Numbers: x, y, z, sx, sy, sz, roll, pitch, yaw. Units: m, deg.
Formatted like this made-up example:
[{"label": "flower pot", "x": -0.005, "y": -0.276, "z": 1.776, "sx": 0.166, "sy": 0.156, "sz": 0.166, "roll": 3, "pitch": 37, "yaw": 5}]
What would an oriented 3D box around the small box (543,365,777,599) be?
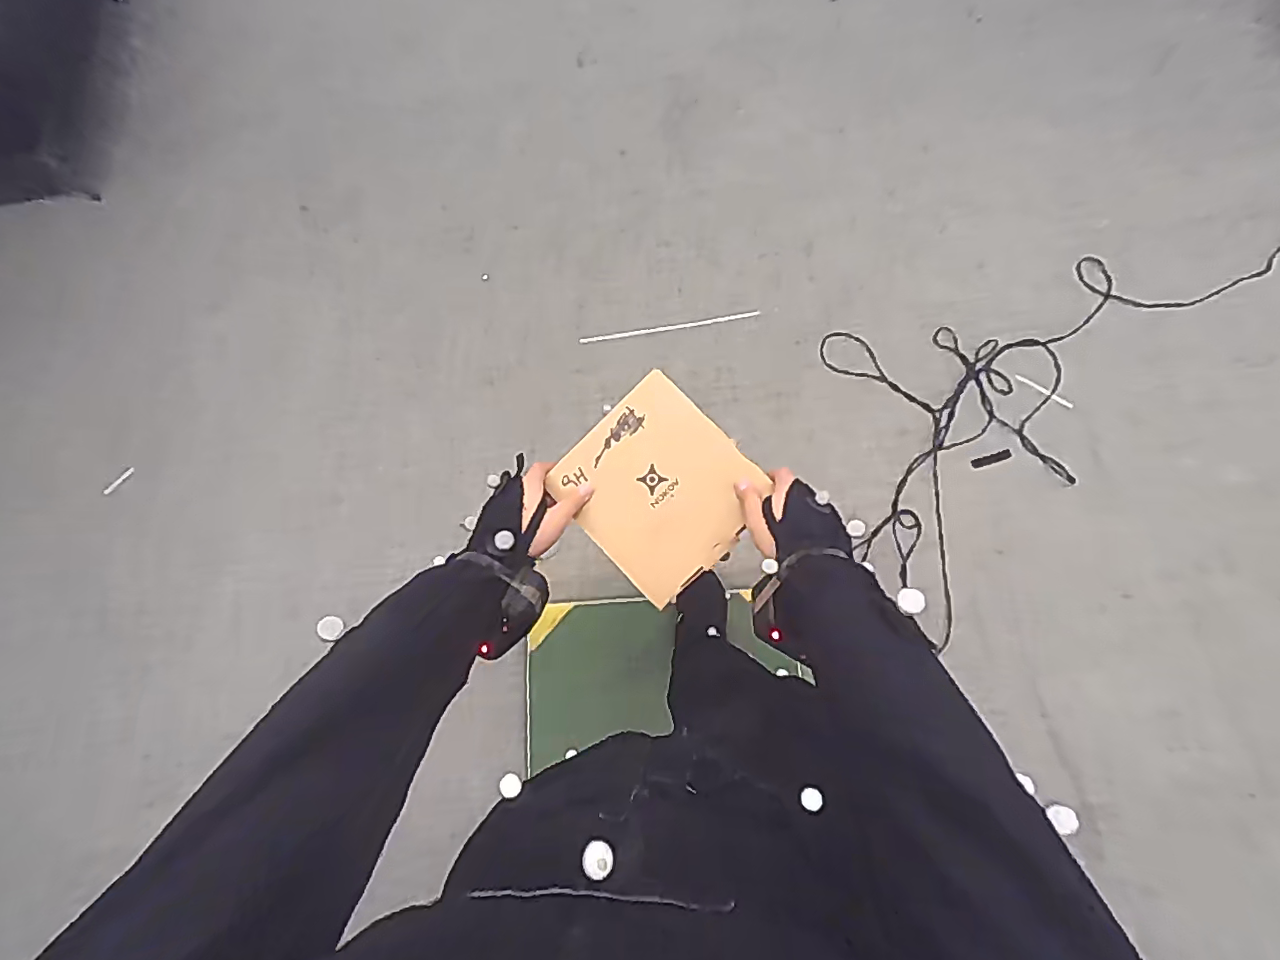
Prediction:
[{"label": "small box", "x": 0.026, "y": 0.004, "z": 0.610, "sx": 0.168, "sy": 0.176, "sz": 0.179, "roll": -44, "pitch": 83, "yaw": 1}]
